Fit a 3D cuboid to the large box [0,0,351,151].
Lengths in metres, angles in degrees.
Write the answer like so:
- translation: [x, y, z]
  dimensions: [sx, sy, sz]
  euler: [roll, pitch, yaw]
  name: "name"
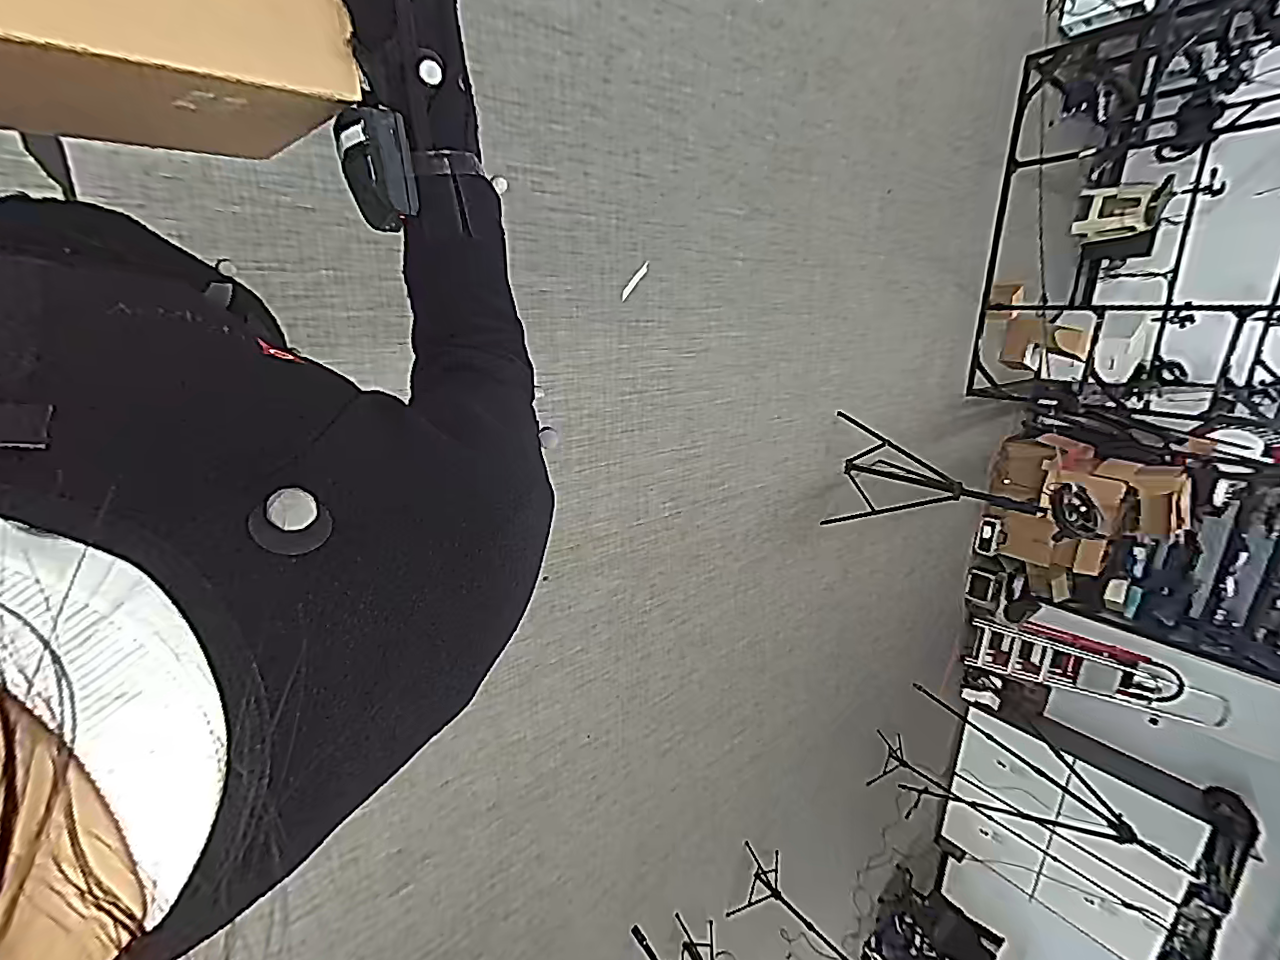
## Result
- translation: [-0.428, -0.378, 0.264]
  dimensions: [0.408, 0.320, 0.320]
  euler: [-18, 120, -39]
  name: "large box"
